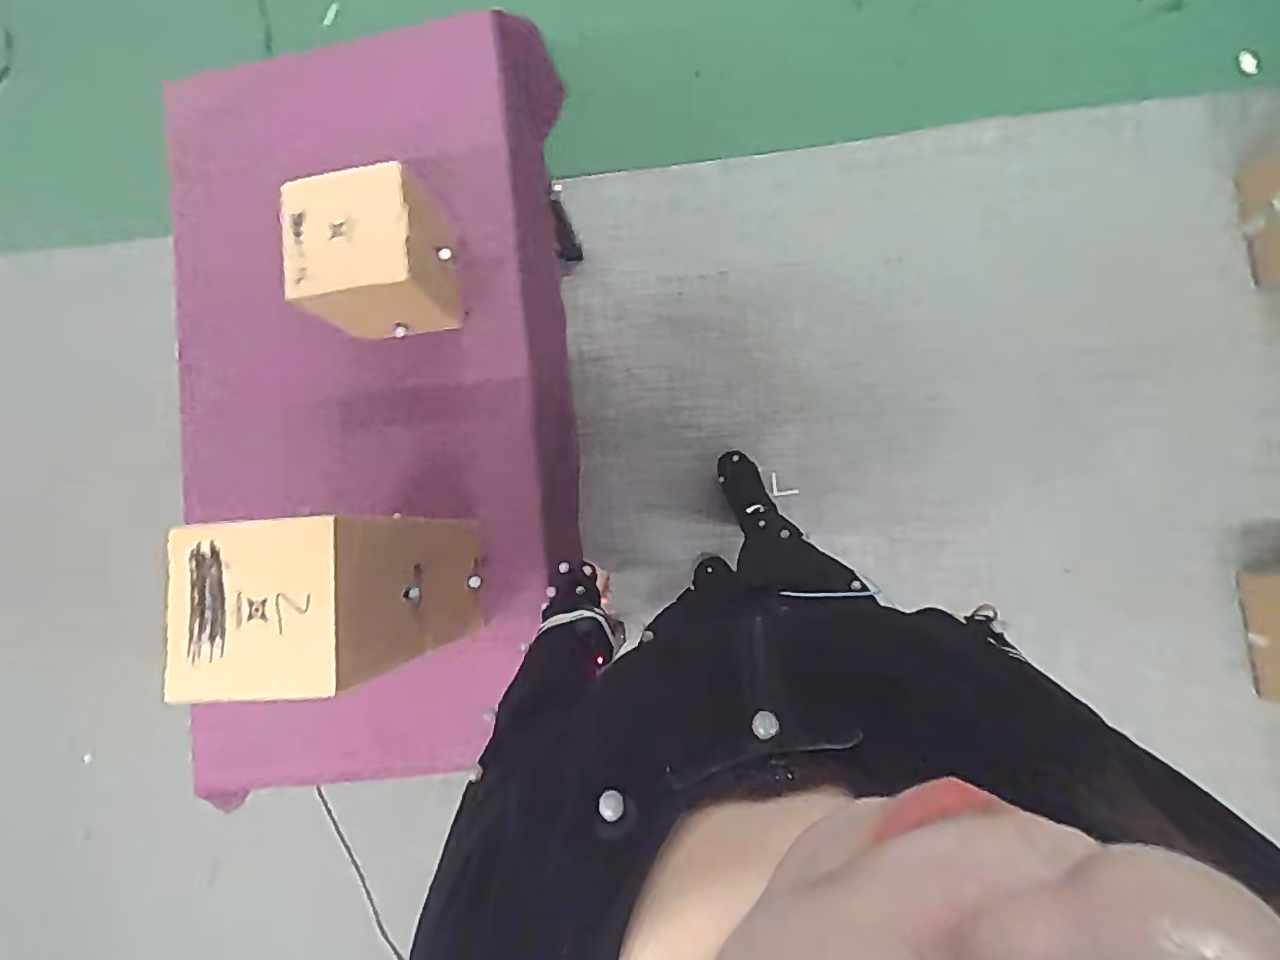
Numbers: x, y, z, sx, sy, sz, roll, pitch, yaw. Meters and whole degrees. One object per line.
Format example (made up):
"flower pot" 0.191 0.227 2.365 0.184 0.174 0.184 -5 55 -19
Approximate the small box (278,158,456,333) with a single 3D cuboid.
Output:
"small box" -0.381 -0.327 0.787 0.179 0.176 0.168 -6 85 6

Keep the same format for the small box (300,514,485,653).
"small box" -0.332 0.136 0.749 0.179 0.176 0.168 -5 86 6

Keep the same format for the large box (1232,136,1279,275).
"large box" 1.740 -0.705 1.234 0.408 0.320 0.320 -6 85 5
